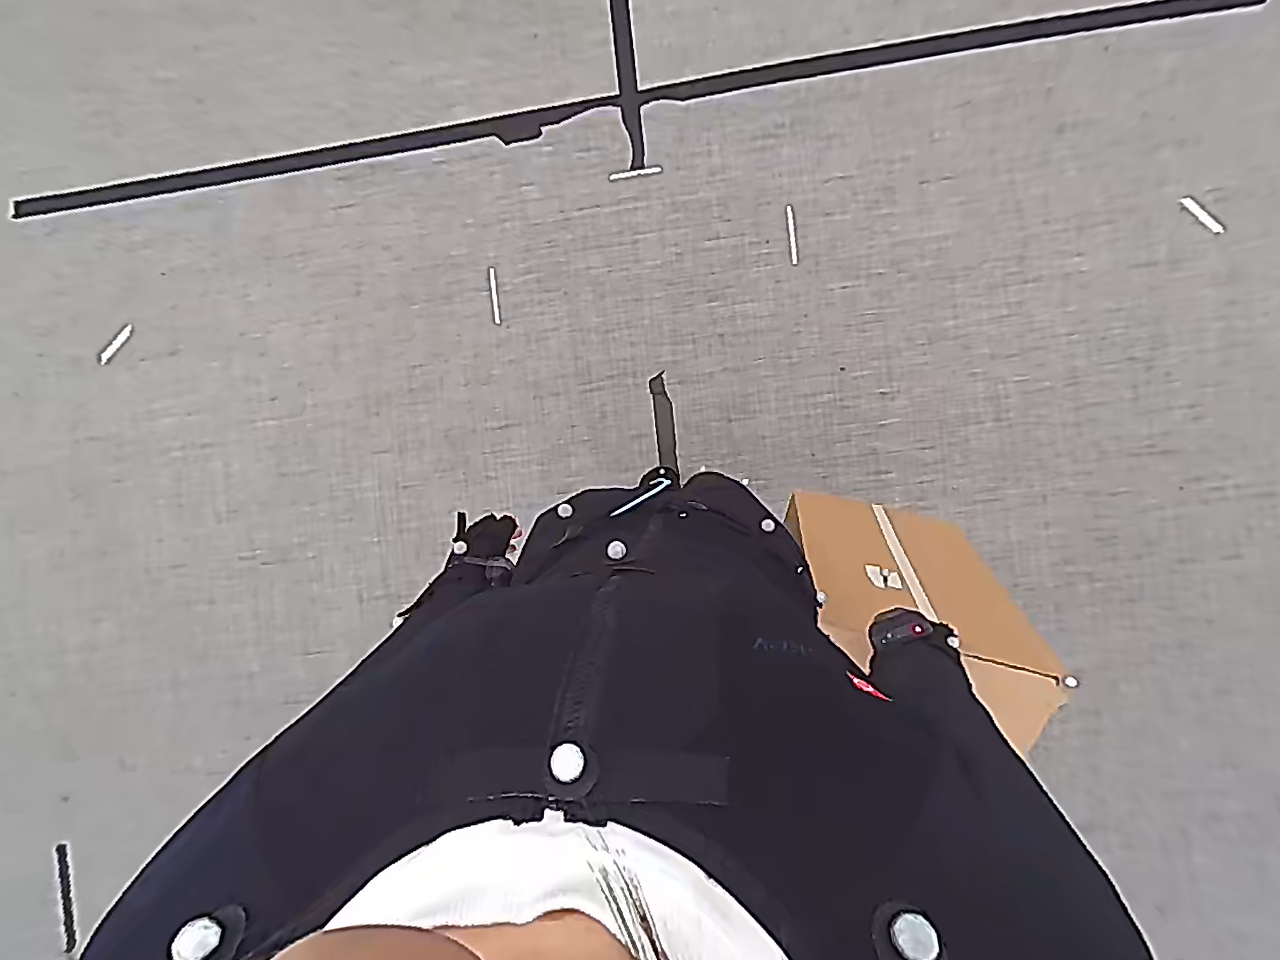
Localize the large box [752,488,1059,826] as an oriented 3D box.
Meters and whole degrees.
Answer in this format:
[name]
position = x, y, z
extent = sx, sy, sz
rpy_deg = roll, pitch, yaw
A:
[large box]
position = 0.377, 0.264, 0.914
extent = 0.320, 0.408, 0.320
rpy_deg = 12, 118, 7
